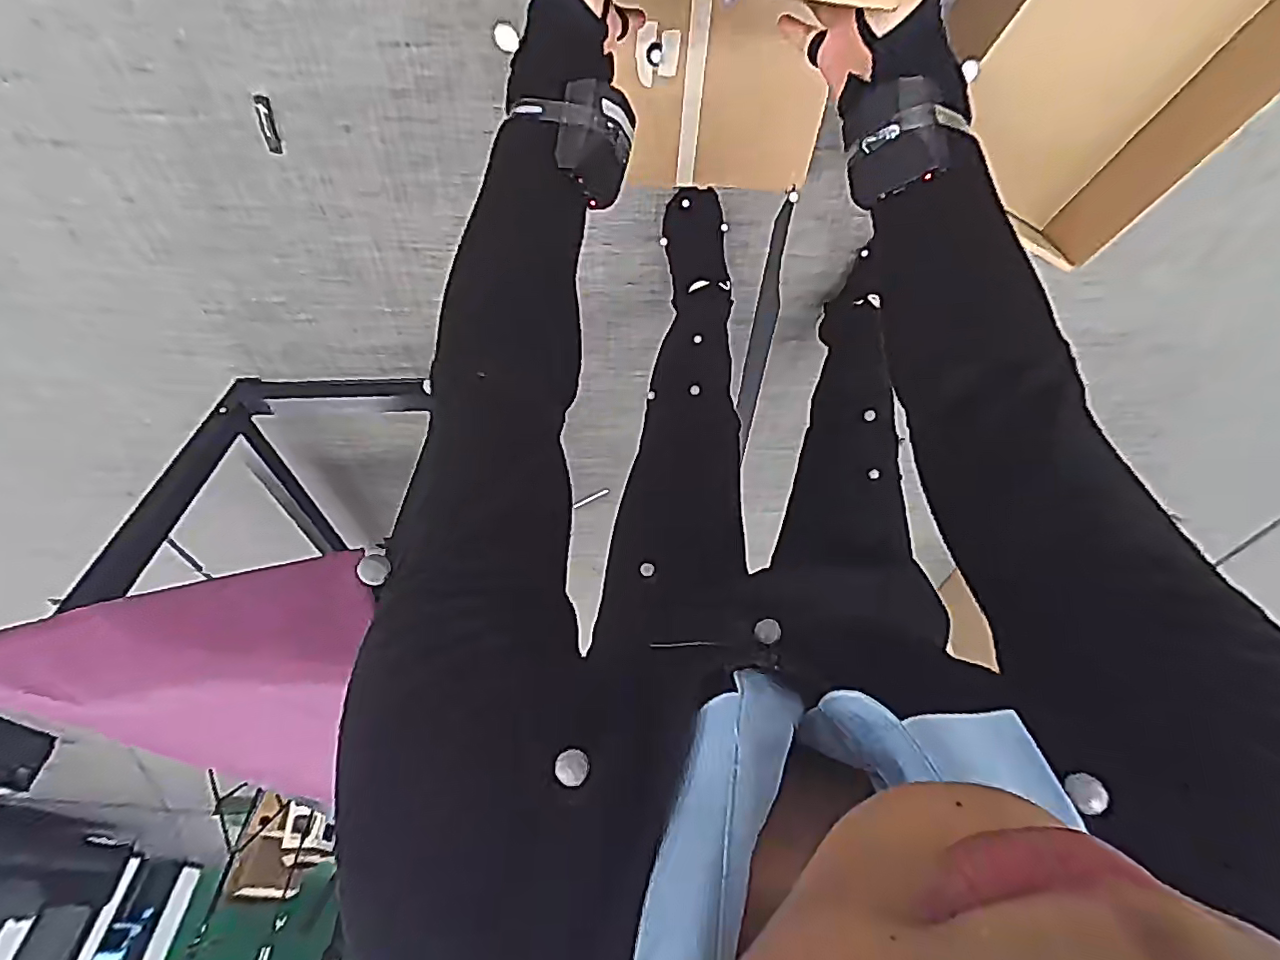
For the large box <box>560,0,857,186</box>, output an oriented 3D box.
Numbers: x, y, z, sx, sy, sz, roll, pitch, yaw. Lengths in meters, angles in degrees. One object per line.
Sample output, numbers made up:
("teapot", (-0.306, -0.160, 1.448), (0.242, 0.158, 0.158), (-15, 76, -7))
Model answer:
("large box", (0.072, -0.624, 0.637), (0.320, 0.320, 0.408), (2, 140, -1))
